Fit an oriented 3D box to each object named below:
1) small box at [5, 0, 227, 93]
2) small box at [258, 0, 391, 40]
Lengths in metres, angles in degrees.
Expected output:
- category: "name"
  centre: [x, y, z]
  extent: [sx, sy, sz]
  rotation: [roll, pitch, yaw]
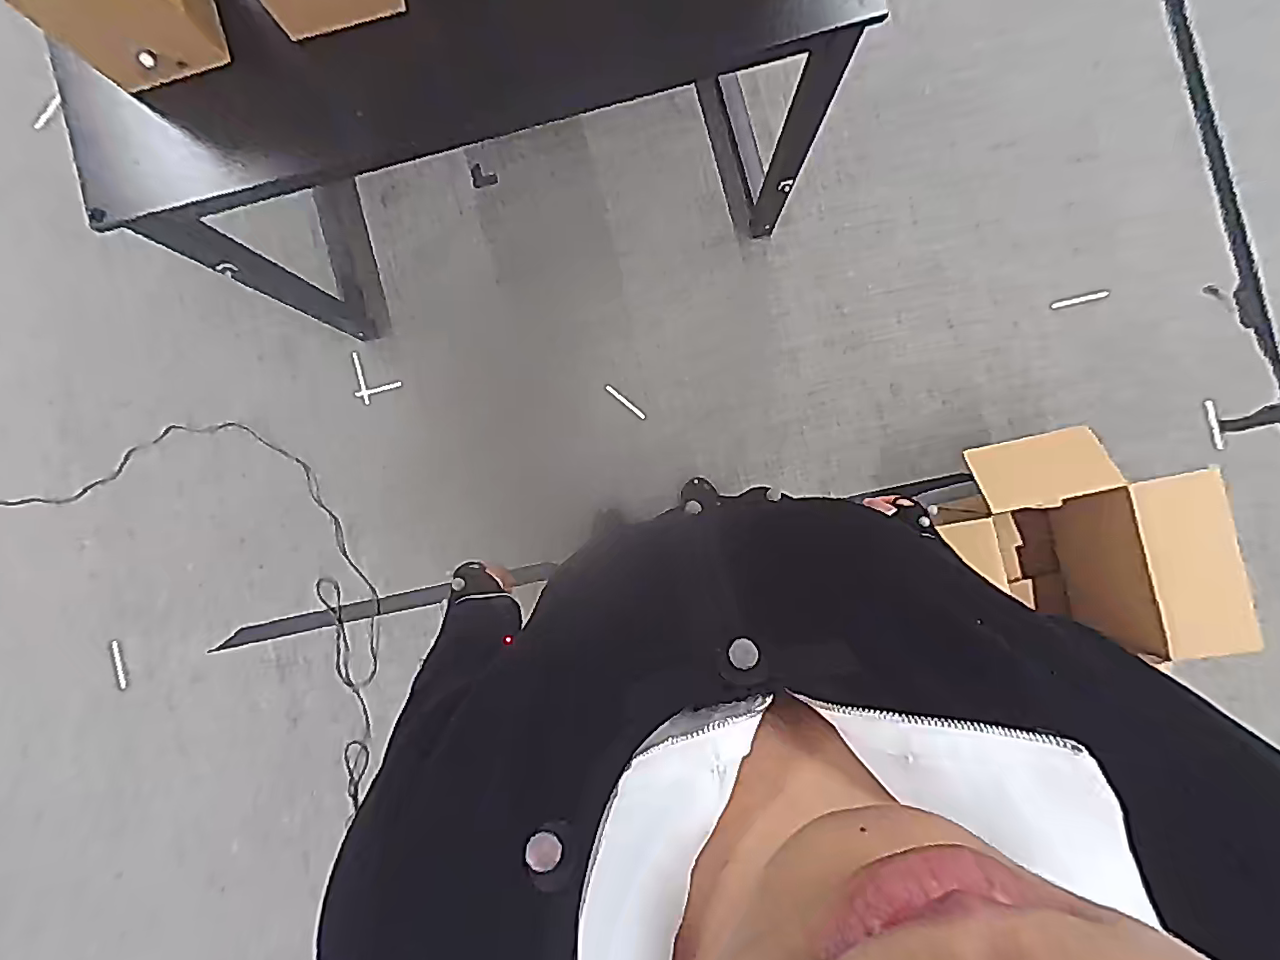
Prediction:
- category: "small box"
  centre: [-0.710, -0.676, 0.723]
  extent: [0.168, 0.176, 0.179]
  rotation: [-16, 90, 2]
- category: "small box"
  centre: [-0.452, -0.743, 0.716]
  extent: [0.179, 0.176, 0.168]
  rotation: [-15, 89, 1]
